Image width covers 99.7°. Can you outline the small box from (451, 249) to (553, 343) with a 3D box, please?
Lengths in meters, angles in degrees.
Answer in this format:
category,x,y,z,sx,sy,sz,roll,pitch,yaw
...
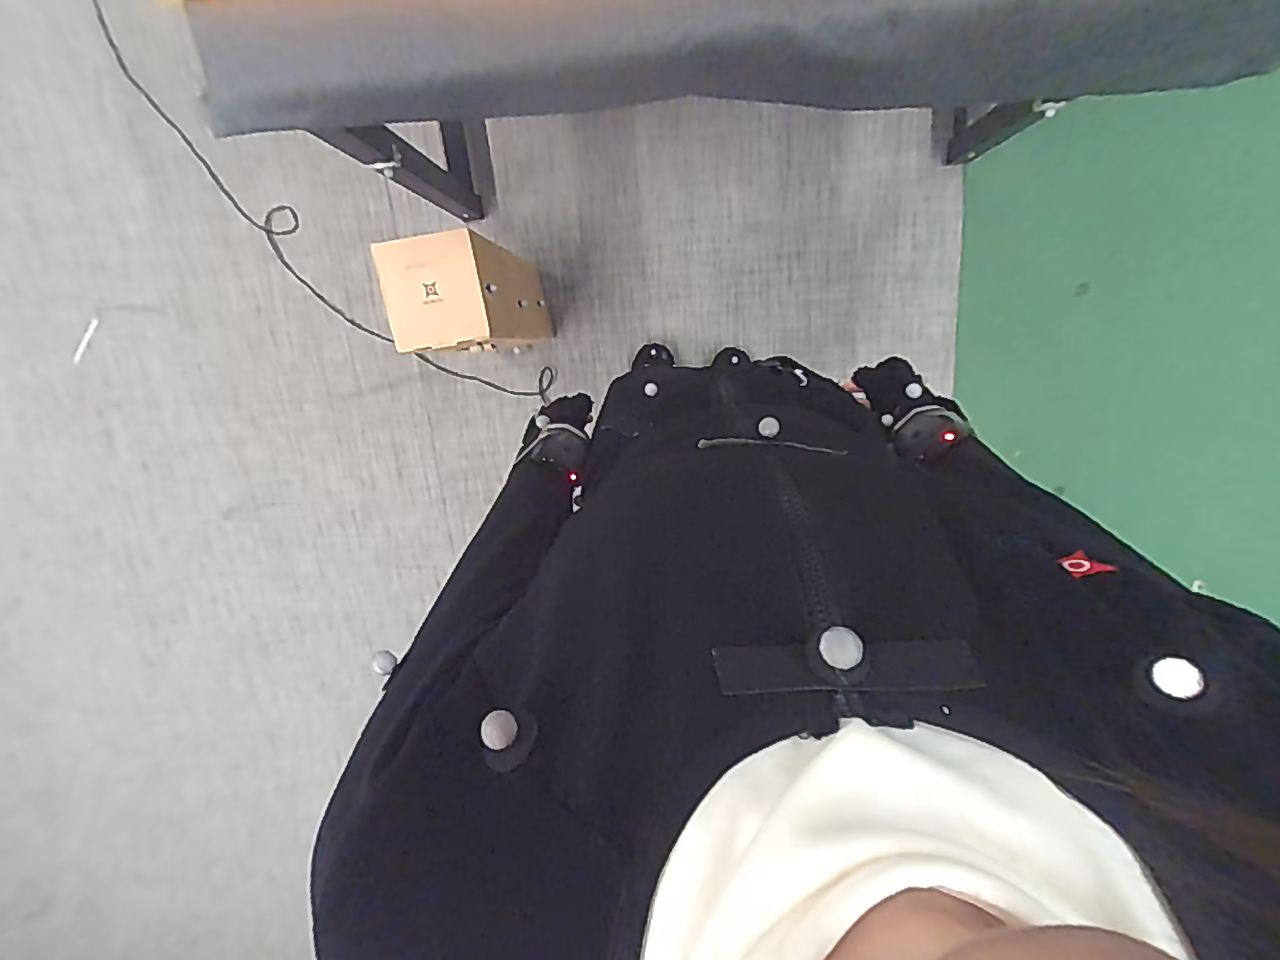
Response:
category,x,y,z,sx,sy,sz,roll,pitch,yaw
small box,-0.315,-0.424,1.271,0.168,0.176,0.179,-11,105,6
